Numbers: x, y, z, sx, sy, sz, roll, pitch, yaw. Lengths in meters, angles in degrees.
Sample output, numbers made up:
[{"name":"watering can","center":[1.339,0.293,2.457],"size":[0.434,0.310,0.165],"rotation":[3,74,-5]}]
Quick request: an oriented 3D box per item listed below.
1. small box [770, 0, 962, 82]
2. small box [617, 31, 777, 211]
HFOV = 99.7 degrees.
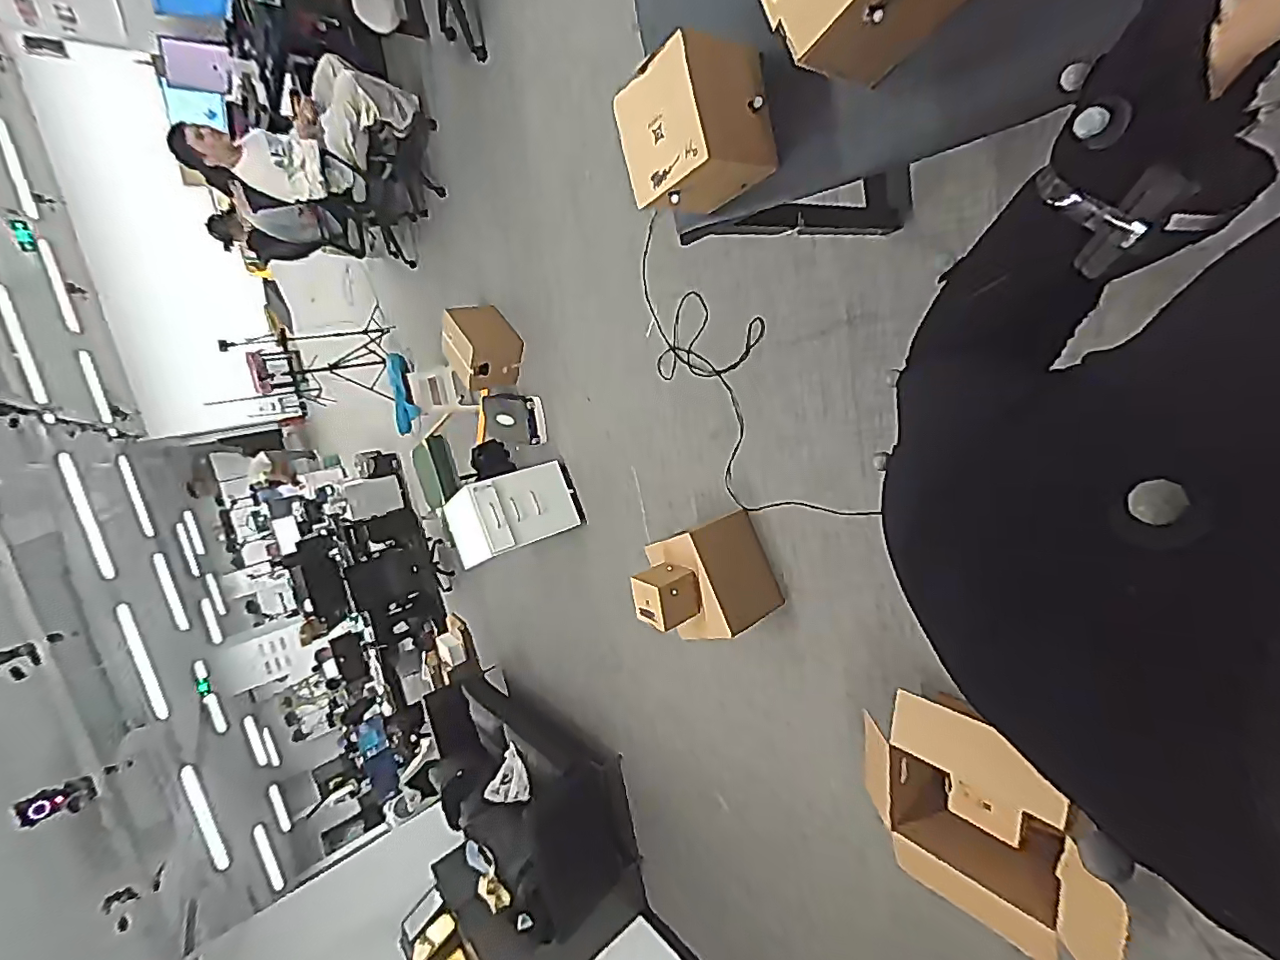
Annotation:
[{"name":"small box","center":[0.263,-0.603,0.618],"size":[0.179,0.176,0.168],"rotation":[-23,86,54]},{"name":"small box","center":[0.093,-0.552,0.864],"size":[0.168,0.176,0.179],"rotation":[-5,101,53]}]
